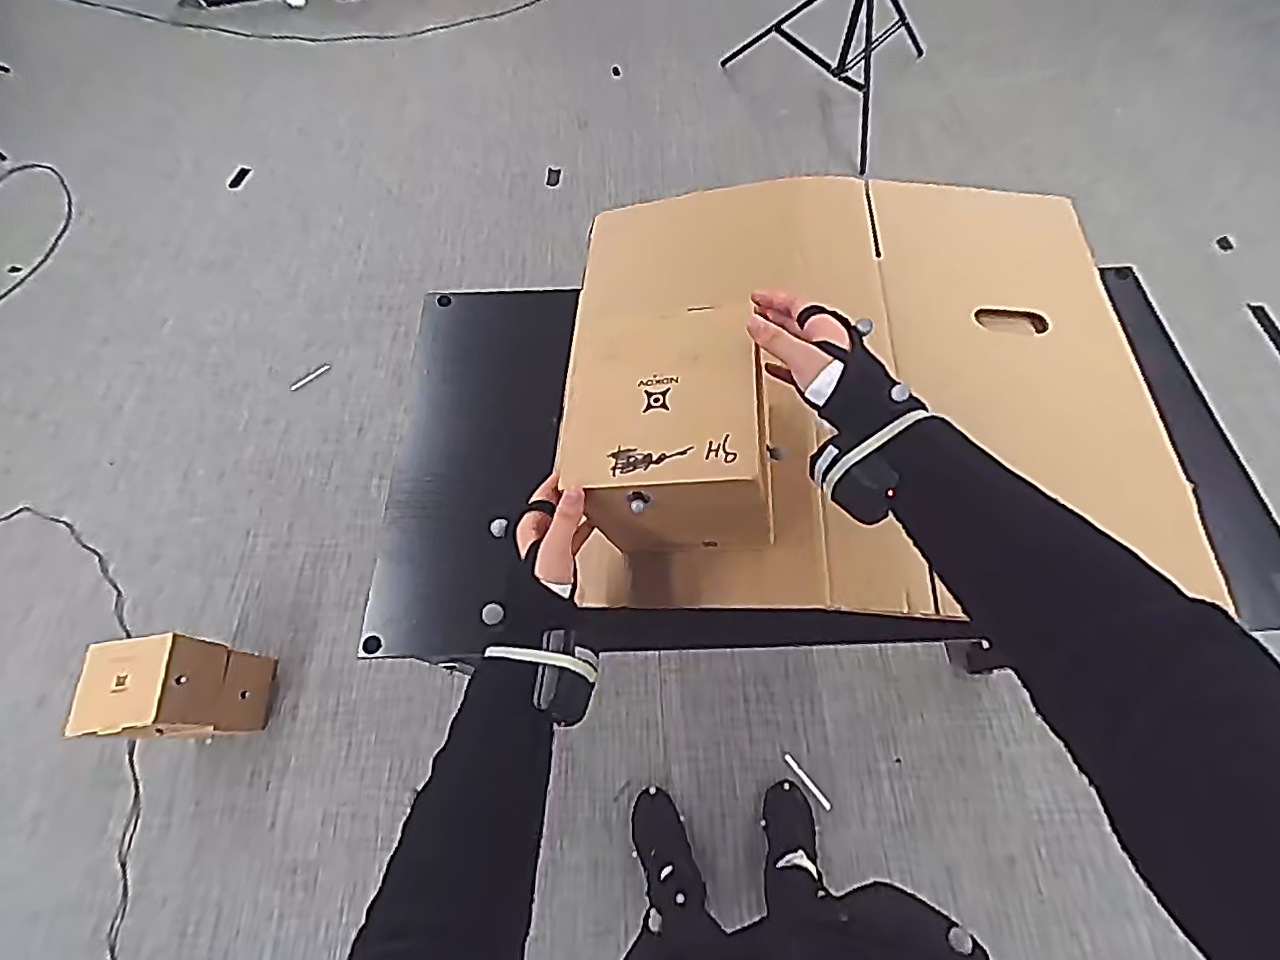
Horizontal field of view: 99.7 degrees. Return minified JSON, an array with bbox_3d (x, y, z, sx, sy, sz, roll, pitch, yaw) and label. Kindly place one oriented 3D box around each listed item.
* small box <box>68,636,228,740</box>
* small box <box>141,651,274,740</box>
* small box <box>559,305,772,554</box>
[{"bbox_3d":[-1.012,0.439,1.133,0.168,0.176,0.179,-8,64,-3],"label":"small box"},{"bbox_3d":[-1.006,0.513,1.277,0.168,0.176,0.179,-6,65,-1],"label":"small box"},{"bbox_3d":[0.039,-0.038,0.529,0.168,0.176,0.179,-4,63,16],"label":"small box"}]
